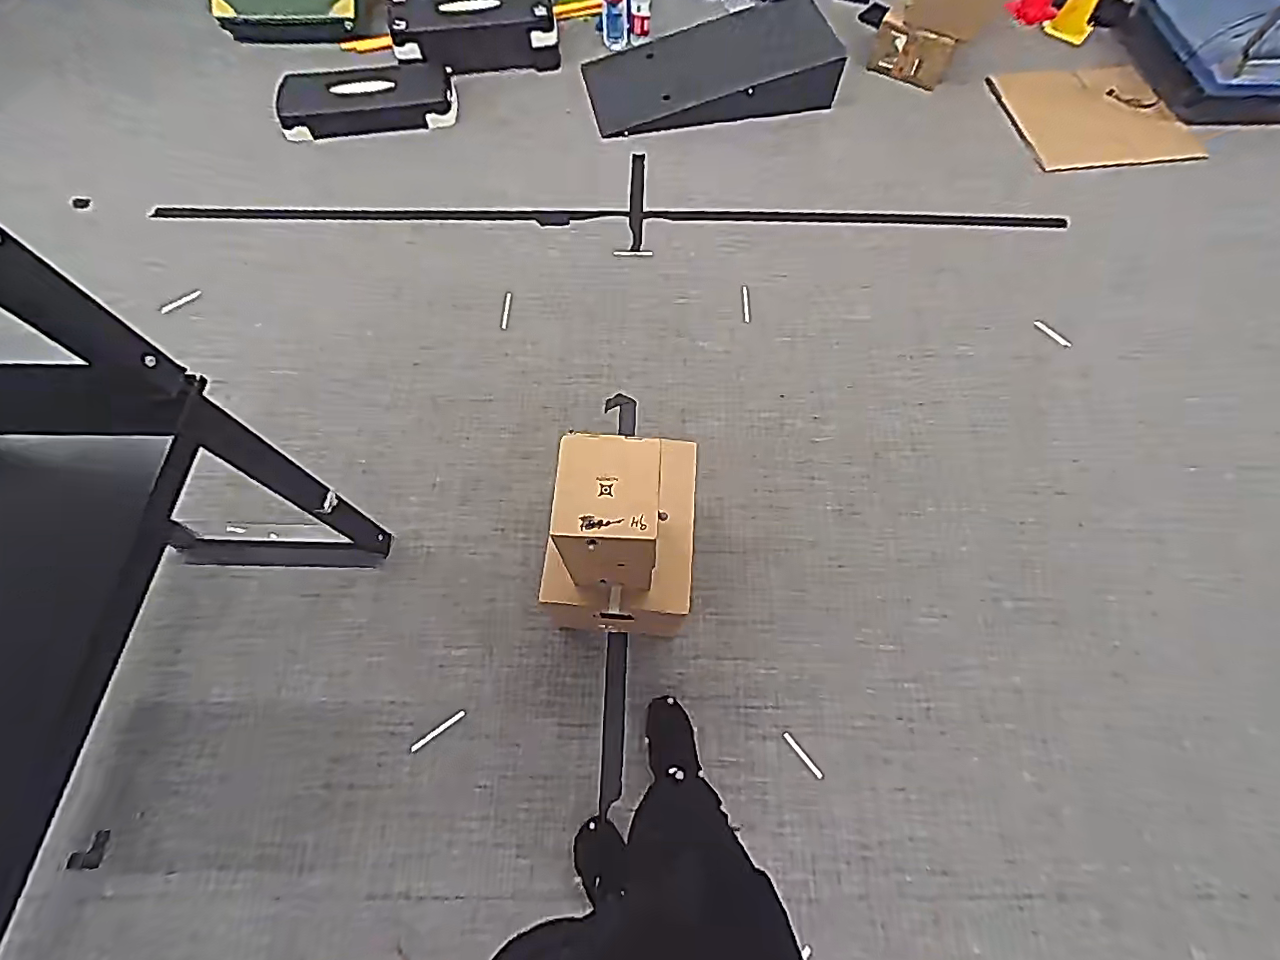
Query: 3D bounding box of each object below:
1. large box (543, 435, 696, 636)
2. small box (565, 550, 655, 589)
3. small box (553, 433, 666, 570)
[{"bbox_3d":[-0.037,0.146,1.320,0.320,0.320,0.408,5,65,0],"label":"large box"},{"bbox_3d":[-0.047,0.104,1.071,0.168,0.176,0.179,5,66,3],"label":"small box"},{"bbox_3d":[-0.045,0.040,0.920,0.168,0.176,0.179,3,64,3],"label":"small box"}]
